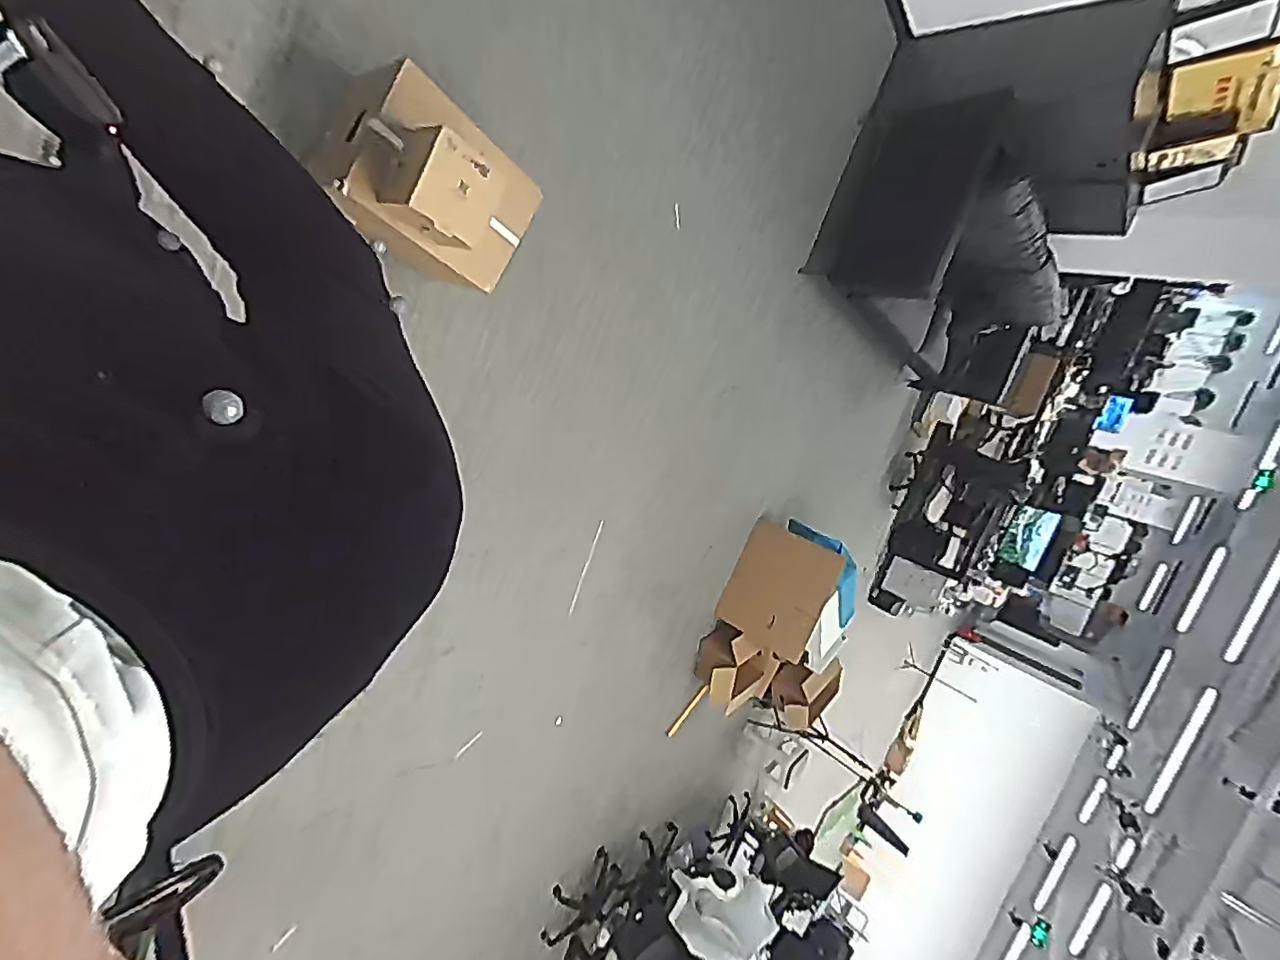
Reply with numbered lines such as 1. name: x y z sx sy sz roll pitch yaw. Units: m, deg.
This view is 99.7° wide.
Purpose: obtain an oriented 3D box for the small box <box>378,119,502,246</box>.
1. small box: -0.436 -0.635 1.166 0.168 0.176 0.179 23 94 -51
